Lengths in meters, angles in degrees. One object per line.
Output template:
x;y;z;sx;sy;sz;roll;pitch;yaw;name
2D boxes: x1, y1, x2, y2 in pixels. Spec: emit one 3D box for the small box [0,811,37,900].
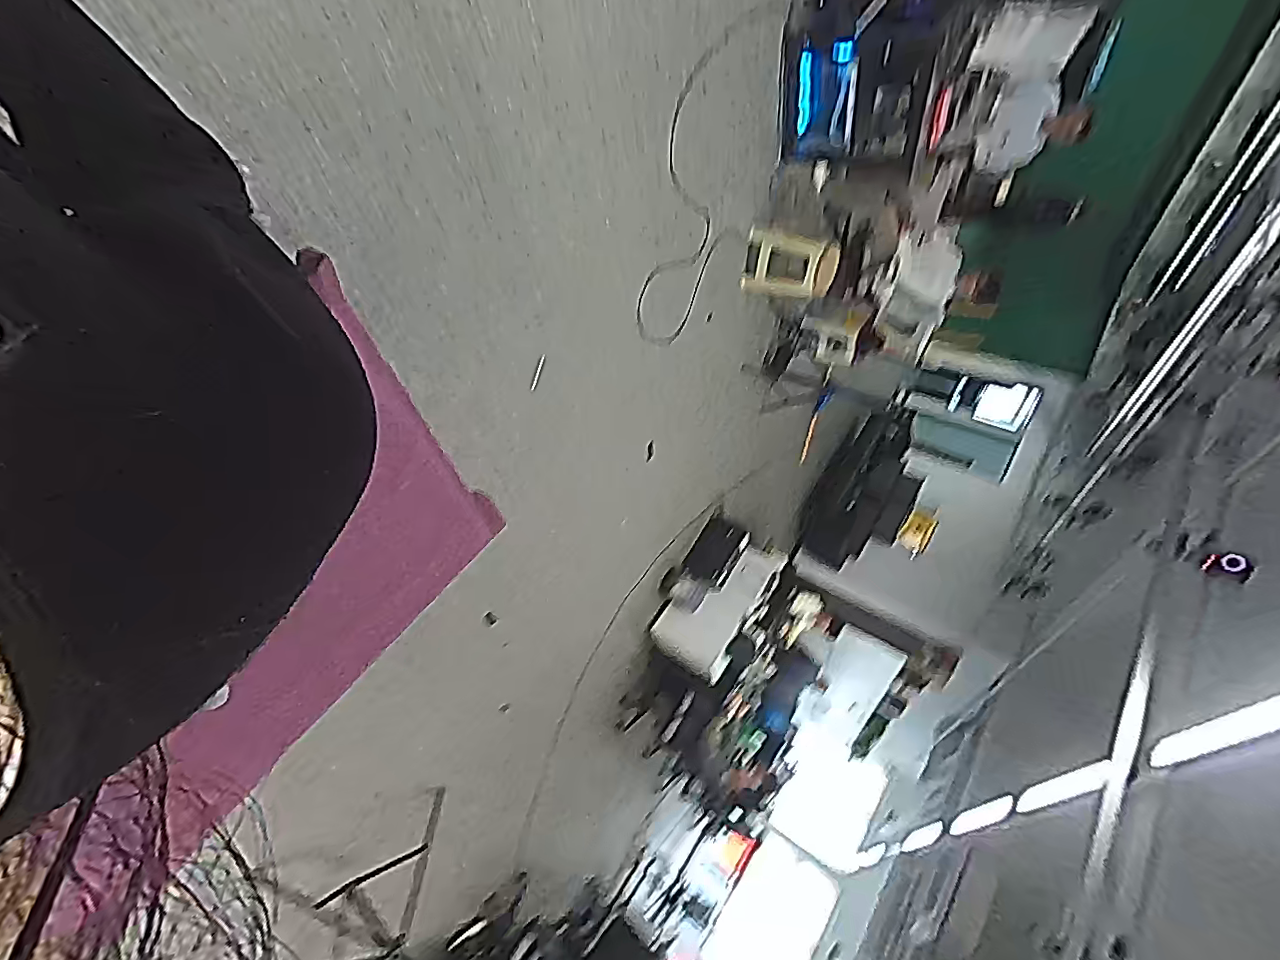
-0.791;0.430;0.534;0.168;0.176;0.179;-50;150;-26;small box
